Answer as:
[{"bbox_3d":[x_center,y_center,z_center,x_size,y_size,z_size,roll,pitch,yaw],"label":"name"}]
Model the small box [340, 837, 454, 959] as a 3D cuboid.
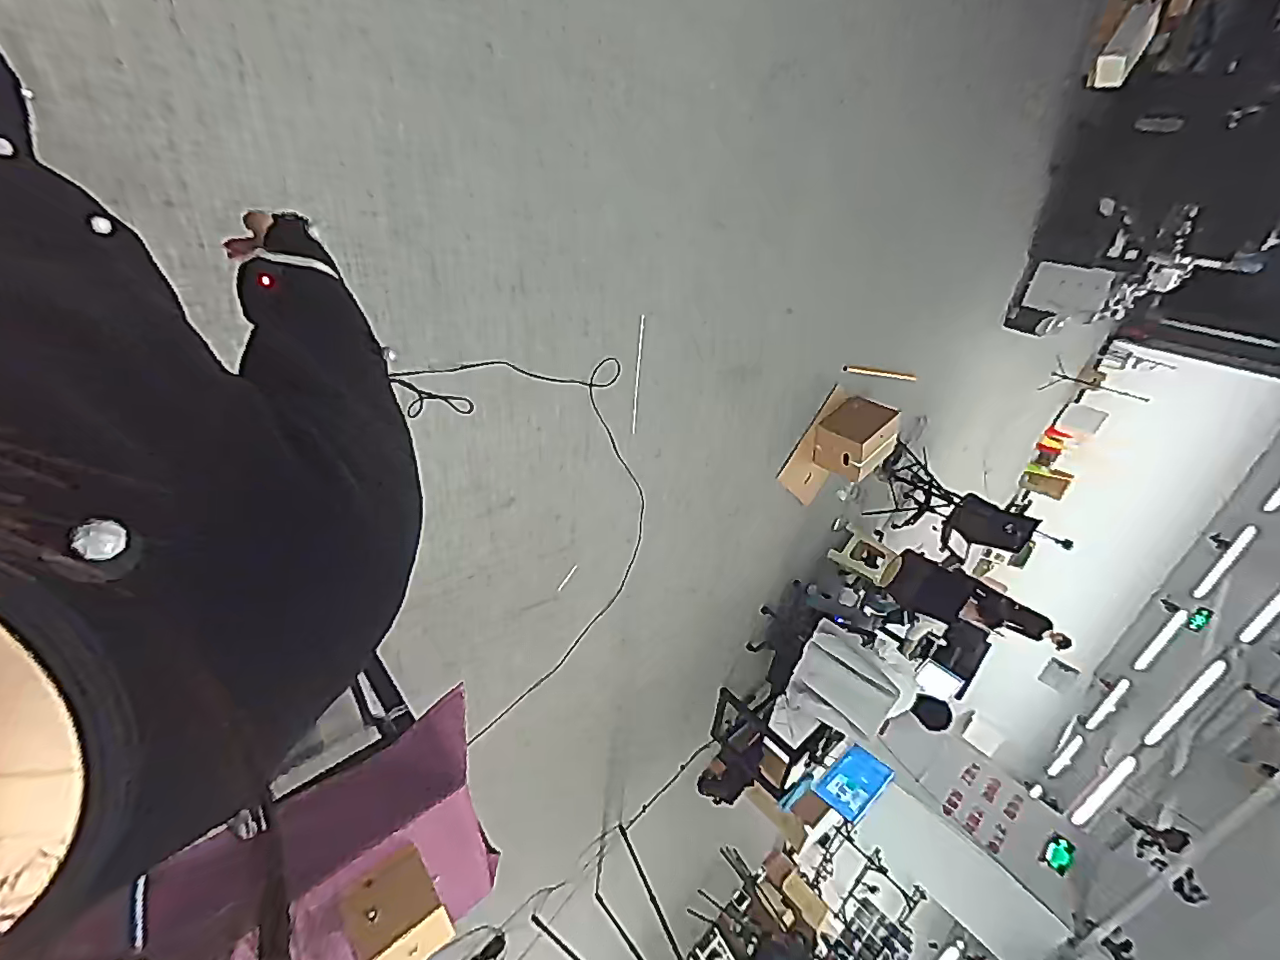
[{"bbox_3d":[-0.537,0.939,1.196,0.168,0.176,0.179,-24,133,-34],"label":"small box"}]
